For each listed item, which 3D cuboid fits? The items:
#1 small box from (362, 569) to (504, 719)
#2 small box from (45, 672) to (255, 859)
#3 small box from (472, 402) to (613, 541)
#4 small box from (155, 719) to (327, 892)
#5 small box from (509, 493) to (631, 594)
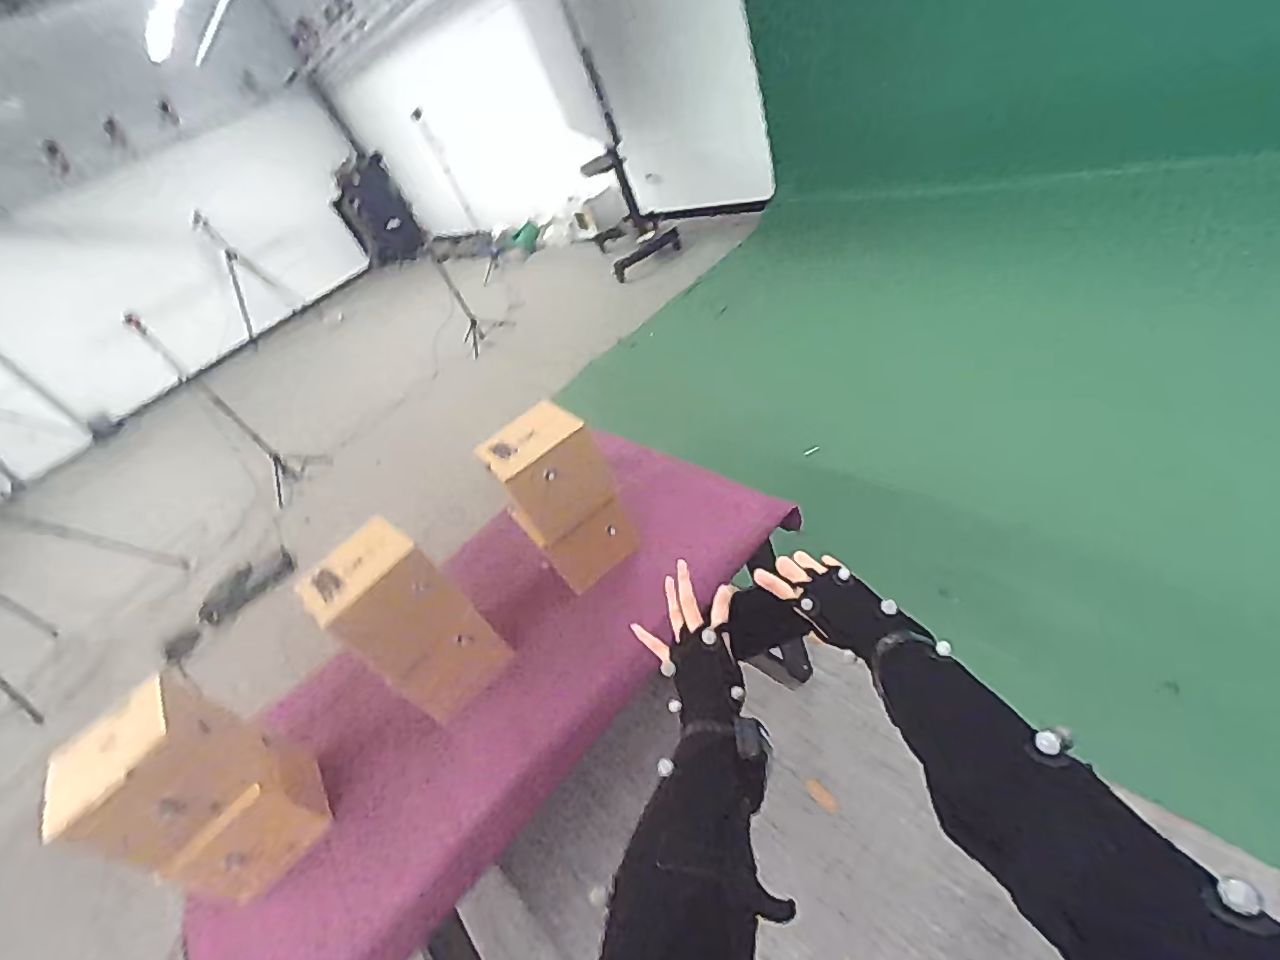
[{"bbox_3d":[-0.385,0.312,1.033,0.179,0.176,0.168,-43,41,-19],"label":"small box"},{"bbox_3d":[-0.733,0.436,0.825,0.179,0.176,0.168,21,57,43],"label":"small box"},{"bbox_3d":[-0.181,-0.016,1.029,0.179,0.176,0.168,-38,39,-15],"label":"small box"},{"bbox_3d":[-0.669,0.555,0.919,0.168,0.176,0.179,-42,40,-19],"label":"small box"},{"bbox_3d":[-0.138,0.100,1.137,0.179,0.176,0.168,-39,39,-14],"label":"small box"}]
